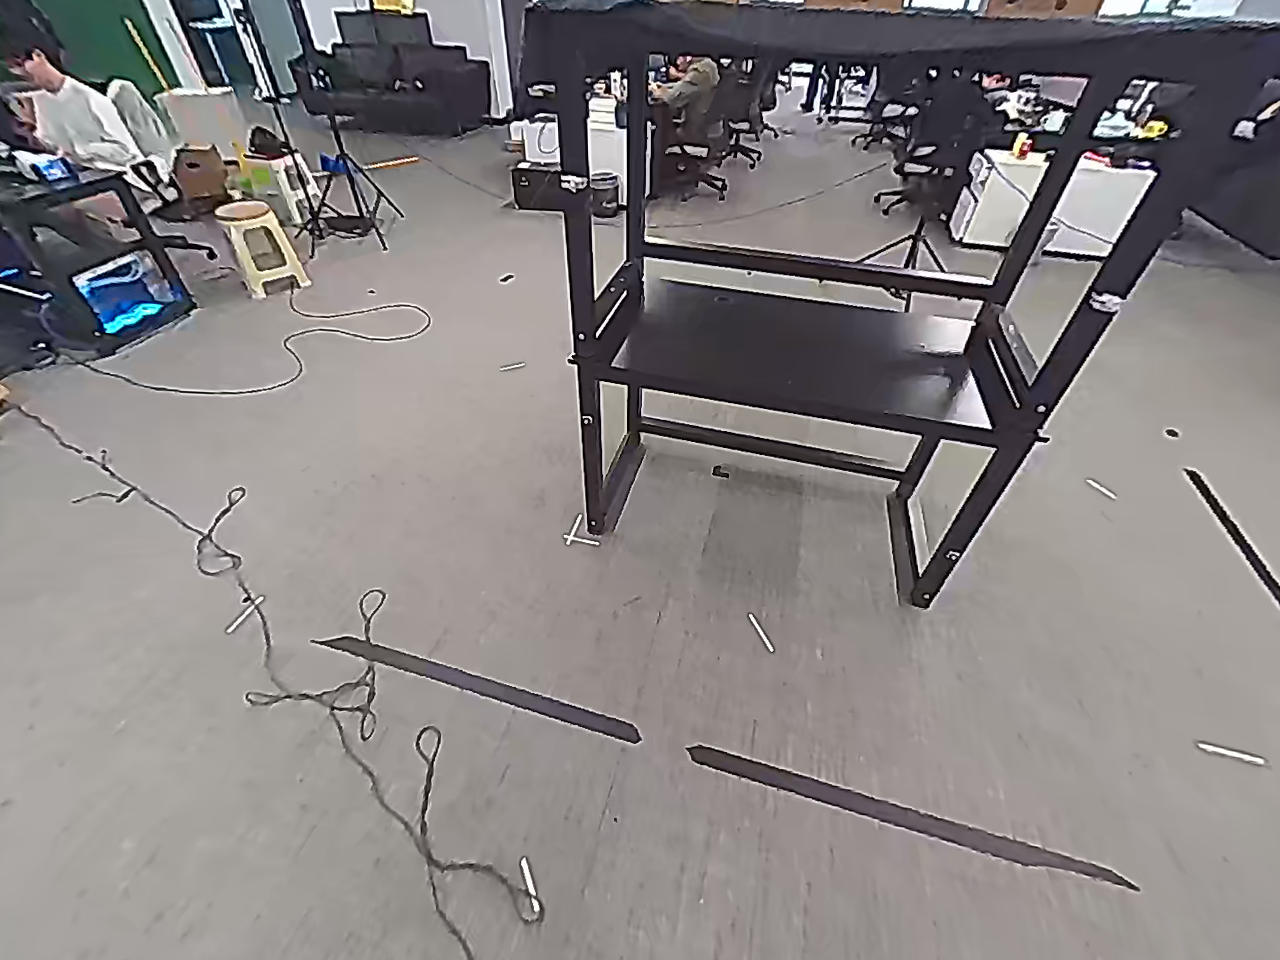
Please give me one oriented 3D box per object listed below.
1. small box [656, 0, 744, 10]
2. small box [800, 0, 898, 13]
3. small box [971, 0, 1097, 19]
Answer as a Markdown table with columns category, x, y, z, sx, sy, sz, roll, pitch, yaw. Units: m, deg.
| category | x | y | z | sx | sy | sz | roll | pitch | yaw |
| --- | --- | --- | --- | --- | --- | --- | --- | --- | --- |
| small box | 0.114 | -0.971 | 0.978 | 0.168 | 0.176 | 0.179 | 12 | 42 | 9 |
| small box | 0.378 | -0.920 | 0.930 | 0.168 | 0.176 | 0.179 | 12 | 42 | 11 |
| small box | 0.668 | -0.865 | 0.880 | 0.168 | 0.176 | 0.179 | 14 | 42 | 13 |
